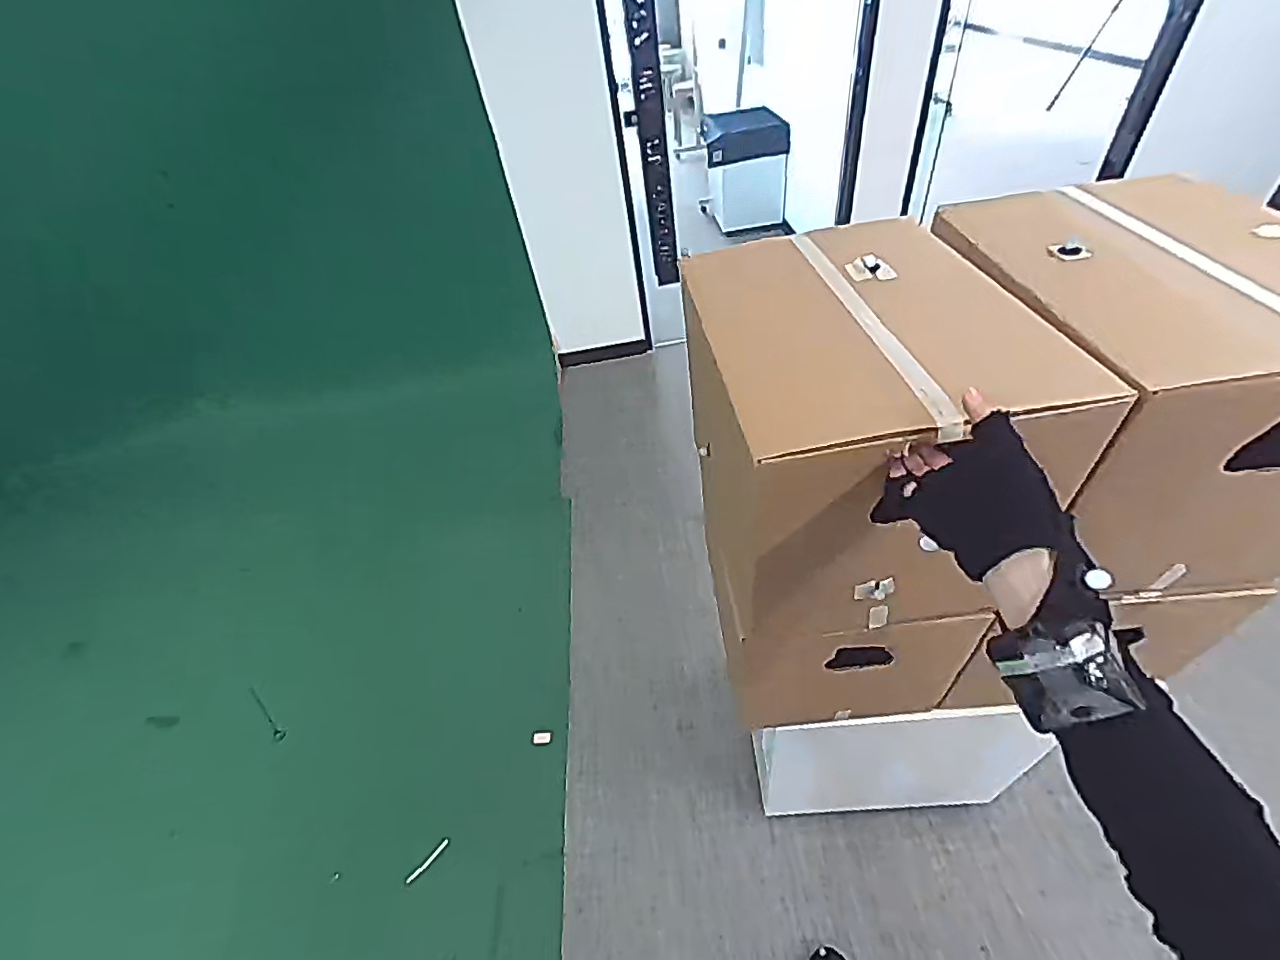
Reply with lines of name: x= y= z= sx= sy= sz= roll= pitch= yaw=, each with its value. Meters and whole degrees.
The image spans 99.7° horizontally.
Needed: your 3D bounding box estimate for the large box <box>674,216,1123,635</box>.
large box: x=0.241 y=-0.078 z=0.677 sx=0.320 sy=0.320 sz=0.408 roll=-10 pitch=44 yaw=1
